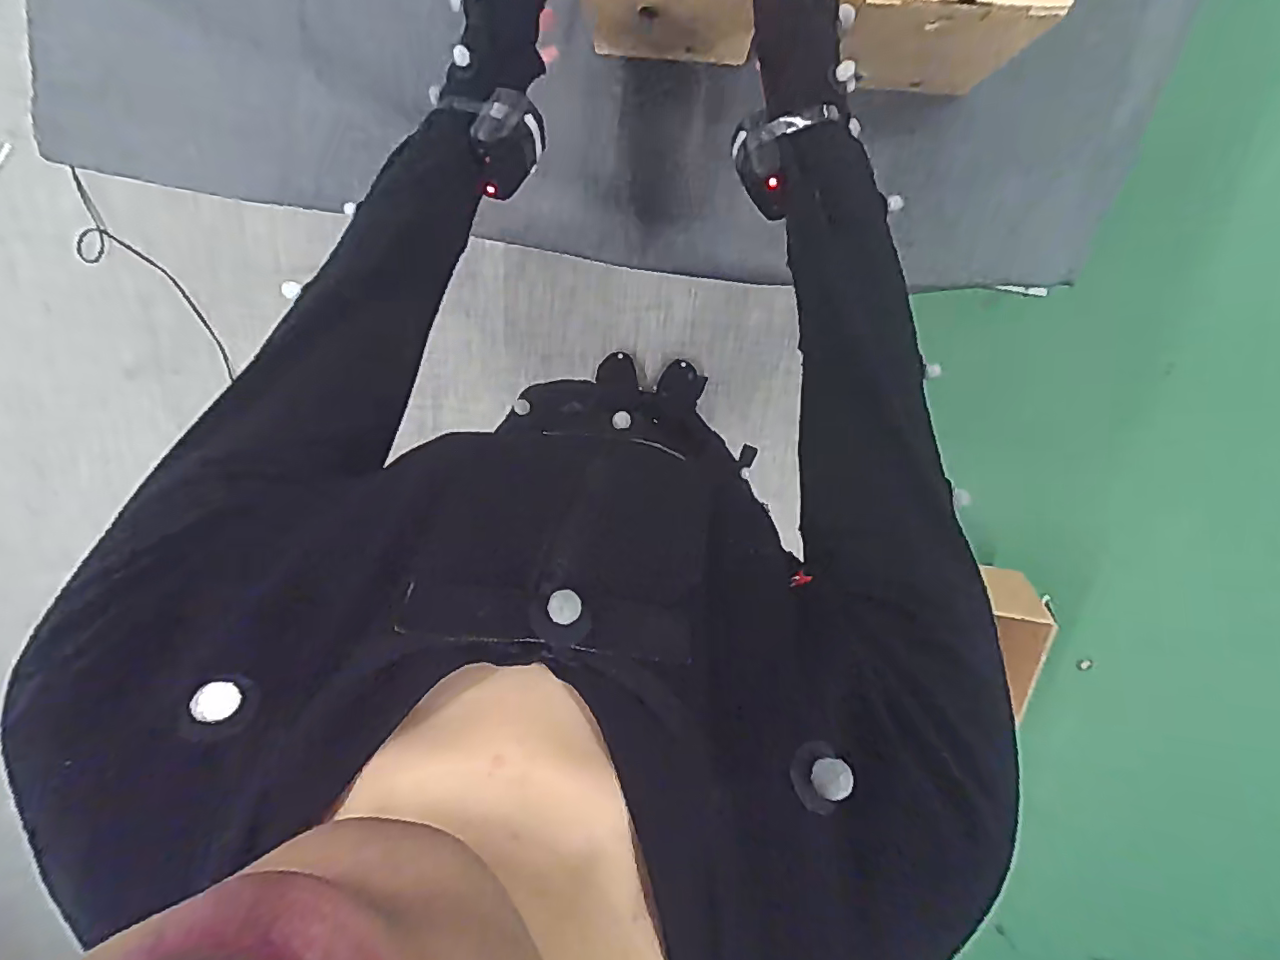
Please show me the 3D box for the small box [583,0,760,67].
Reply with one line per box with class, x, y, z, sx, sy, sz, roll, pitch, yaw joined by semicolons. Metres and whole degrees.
small box;0.036;-0.514;0.492;0.168;0.176;0.179;6;106;2
